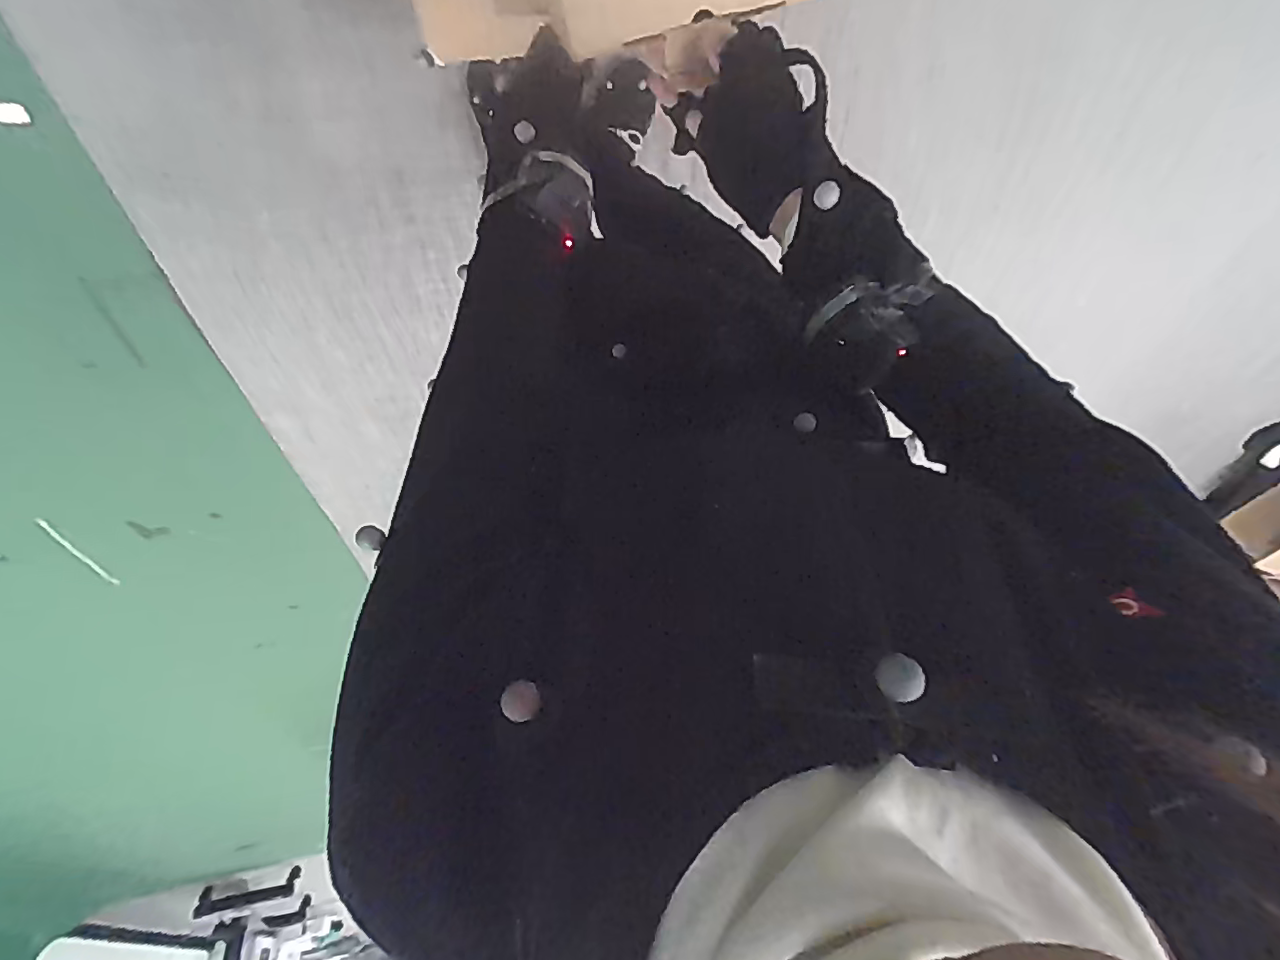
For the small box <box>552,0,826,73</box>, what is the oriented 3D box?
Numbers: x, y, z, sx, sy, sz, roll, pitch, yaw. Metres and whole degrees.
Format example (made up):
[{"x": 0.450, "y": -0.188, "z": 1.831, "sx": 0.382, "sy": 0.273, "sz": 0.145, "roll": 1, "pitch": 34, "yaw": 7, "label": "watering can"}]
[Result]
[{"x": 0.011, "y": -0.390, "z": 0.334, "sx": 0.168, "sy": 0.176, "sz": 0.179, "roll": -15, "pitch": 136, "yaw": 0, "label": "small box"}]
